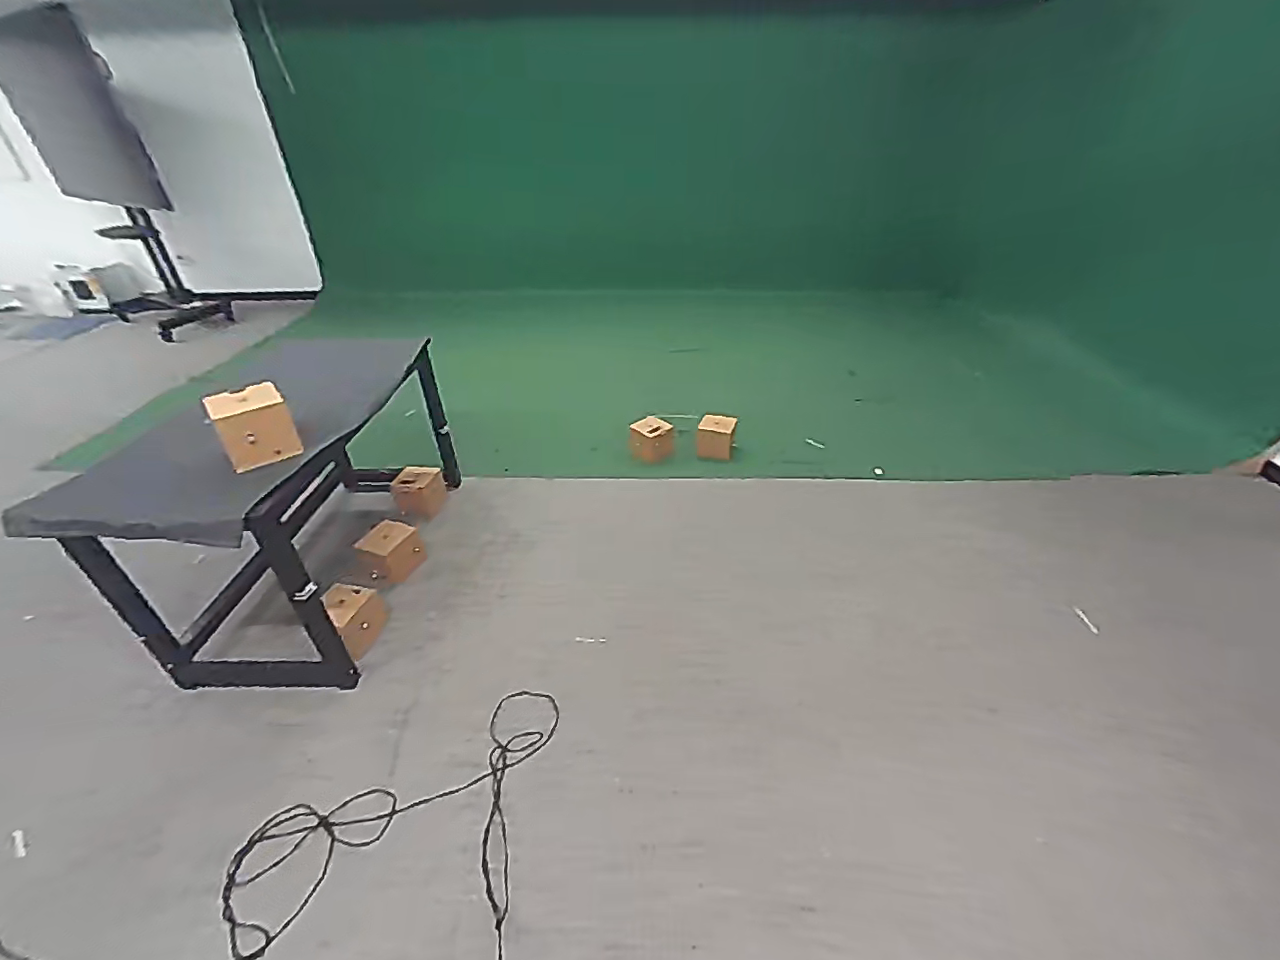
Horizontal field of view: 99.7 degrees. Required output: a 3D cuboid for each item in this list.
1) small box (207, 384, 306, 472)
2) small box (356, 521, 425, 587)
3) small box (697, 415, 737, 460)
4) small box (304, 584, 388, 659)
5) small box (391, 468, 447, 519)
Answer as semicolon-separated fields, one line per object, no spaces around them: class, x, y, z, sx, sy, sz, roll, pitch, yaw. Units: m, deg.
small box;-1.065;-0.142;1.509;0.168;0.176;0.179;-27;42;-32
small box;-0.982;0.294;2.153;0.168;0.176;0.179;11;38;19
small box;0.403;-0.221;2.848;0.179;0.176;0.168;12;37;17
small box;-1.005;0.493;1.870;0.168;0.176;0.179;7;37;12
small box;-1.007;0.062;2.486;0.168;0.176;0.179;4;34;6
